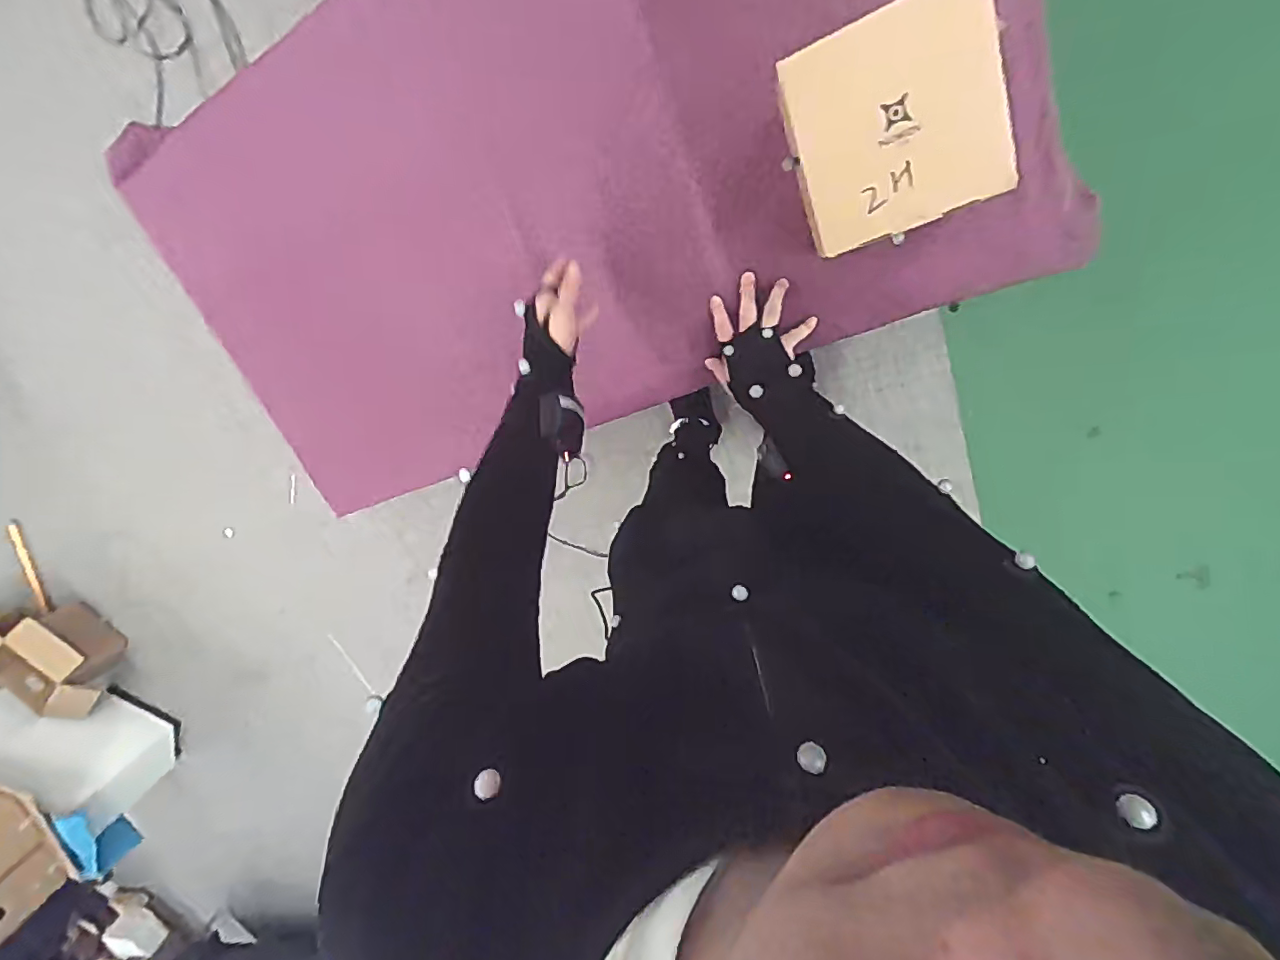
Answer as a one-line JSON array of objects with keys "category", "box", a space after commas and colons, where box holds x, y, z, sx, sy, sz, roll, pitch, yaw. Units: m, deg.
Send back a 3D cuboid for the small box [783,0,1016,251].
[{"category": "small box", "box": [0.246, -0.347, 0.544, 0.168, 0.176, 0.179, -14, 109, 22]}]
